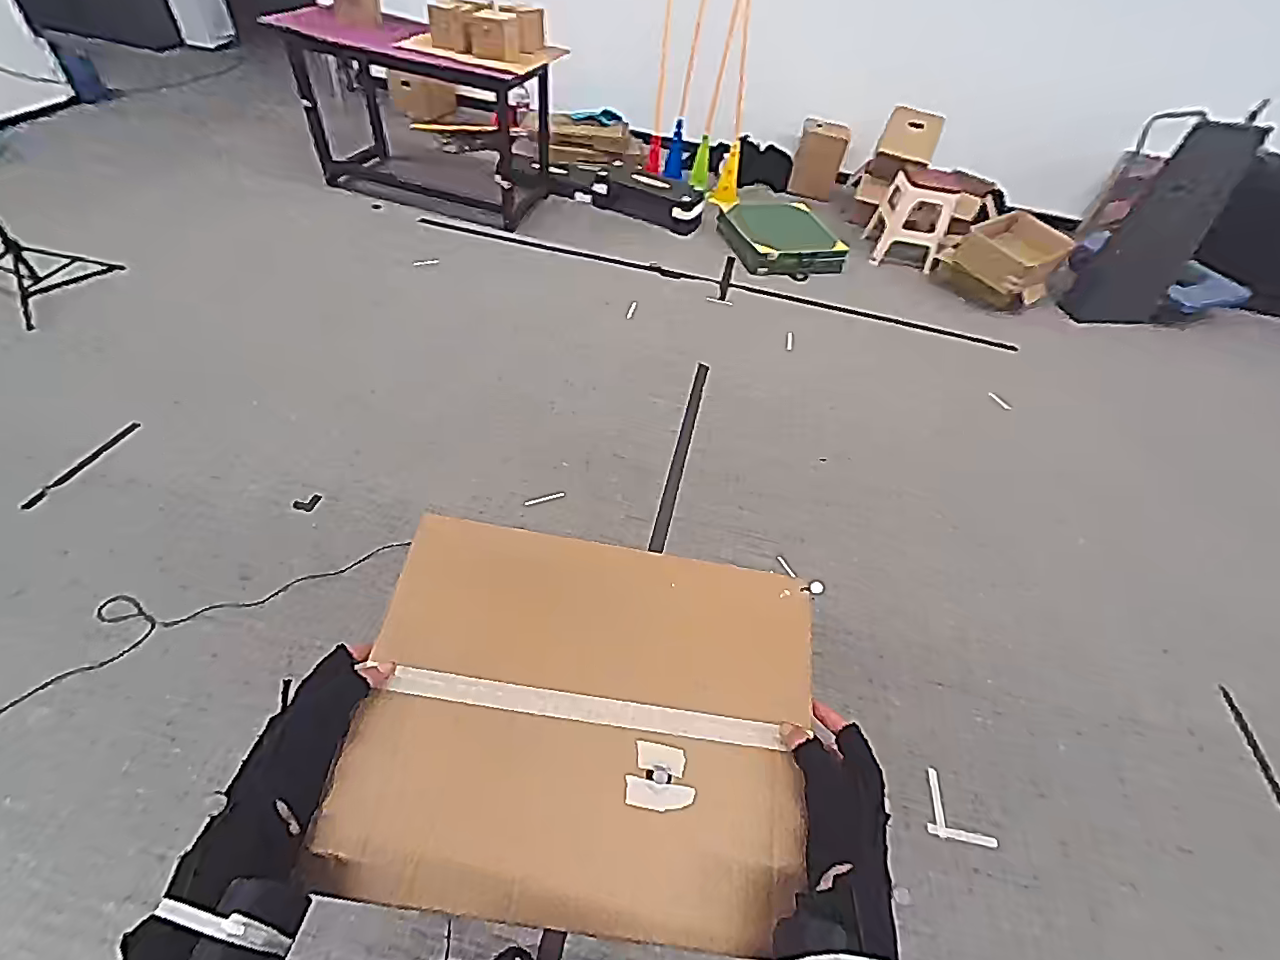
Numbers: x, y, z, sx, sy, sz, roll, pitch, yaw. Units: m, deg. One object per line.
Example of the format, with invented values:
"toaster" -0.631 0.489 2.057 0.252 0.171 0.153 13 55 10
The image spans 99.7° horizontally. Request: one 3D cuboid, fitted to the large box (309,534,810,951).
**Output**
"large box" -0.063 0.286 0.622 0.408 0.320 0.320 9 62 -3
